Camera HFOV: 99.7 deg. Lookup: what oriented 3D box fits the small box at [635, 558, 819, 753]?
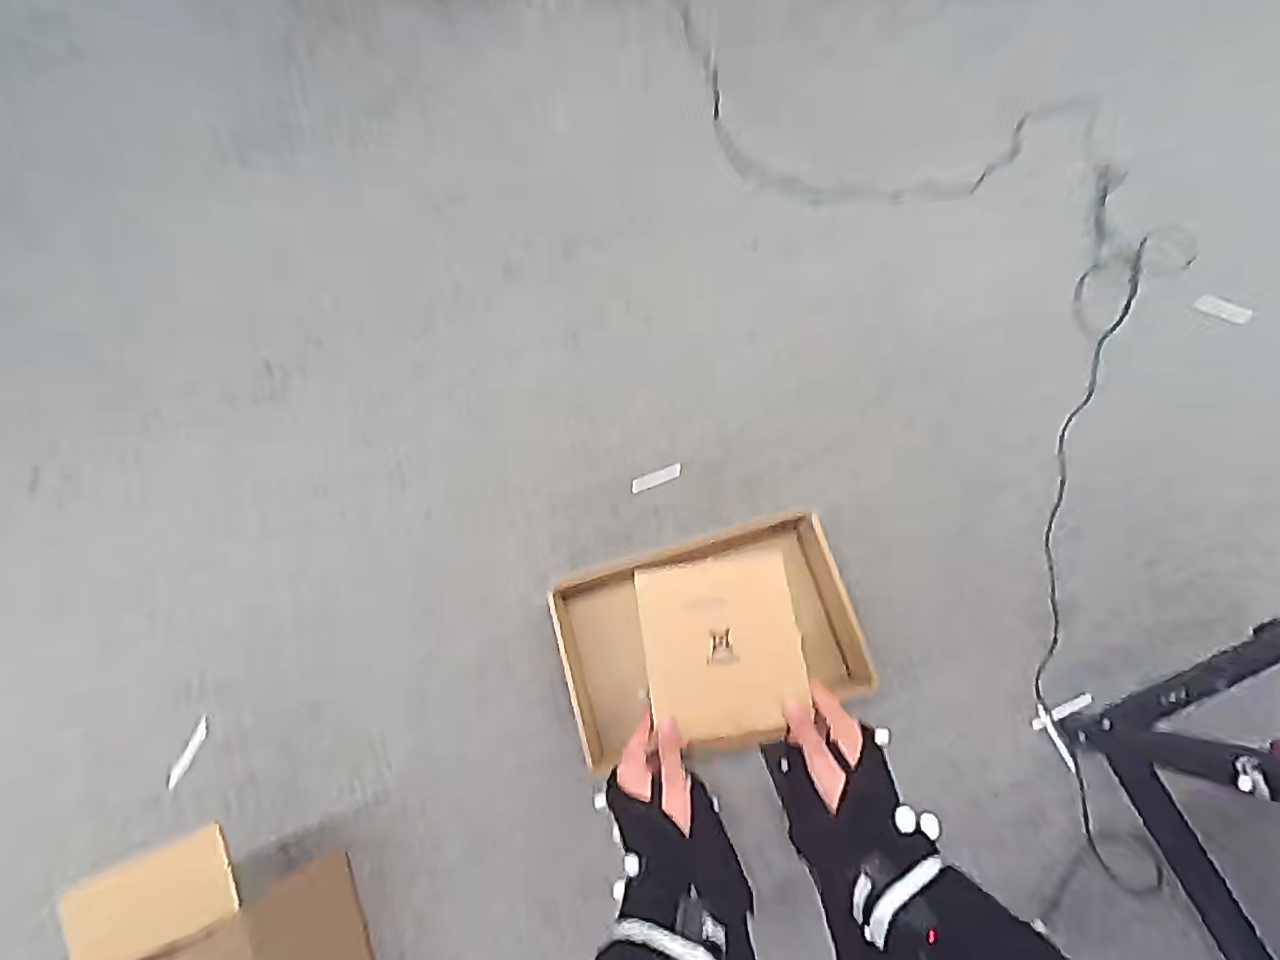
[{"bbox_3d":[0.088,0.196,0.627,0.168,0.176,0.179,-8,73,-1],"label":"small box"}]
